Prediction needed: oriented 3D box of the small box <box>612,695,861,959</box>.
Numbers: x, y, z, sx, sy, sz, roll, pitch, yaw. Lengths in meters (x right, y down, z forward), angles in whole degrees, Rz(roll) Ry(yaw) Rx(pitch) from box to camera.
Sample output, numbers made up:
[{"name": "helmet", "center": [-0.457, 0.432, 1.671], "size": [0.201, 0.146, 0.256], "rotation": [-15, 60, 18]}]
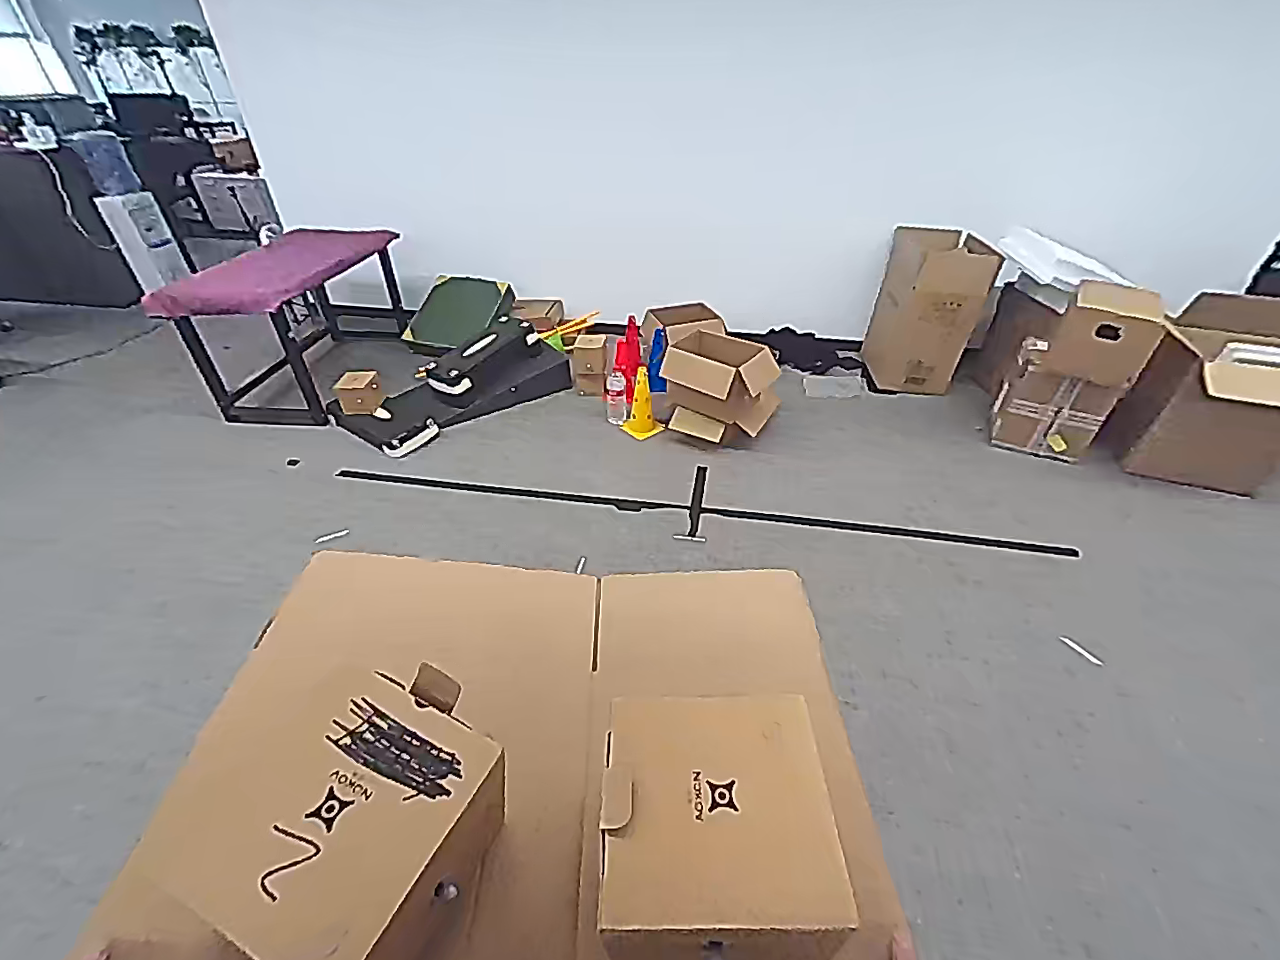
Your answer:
[{"name": "small box", "center": [0.071, 0.312, 0.485], "size": [0.179, 0.176, 0.168], "rotation": [-3, 40, 2]}]
